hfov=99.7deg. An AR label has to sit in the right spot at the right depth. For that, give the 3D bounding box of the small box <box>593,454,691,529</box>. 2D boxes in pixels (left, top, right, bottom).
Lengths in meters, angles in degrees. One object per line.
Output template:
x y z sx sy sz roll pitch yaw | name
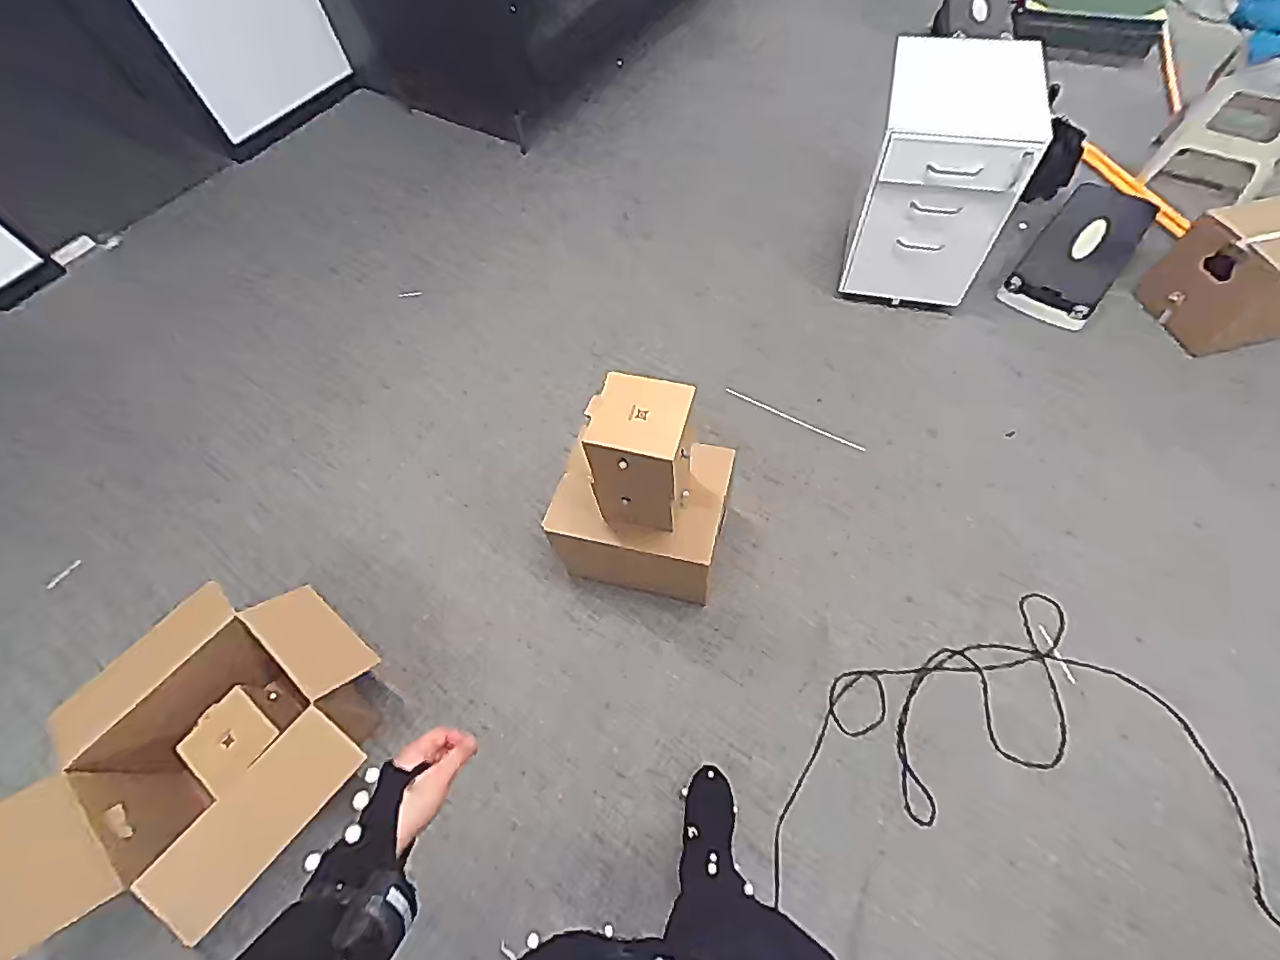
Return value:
0.013 -0.005 1.218 0.179 0.176 0.168 12 63 12 | small box

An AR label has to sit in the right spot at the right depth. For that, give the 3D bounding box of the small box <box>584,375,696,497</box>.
0.010 -0.081 1.074 0.179 0.176 0.168 12 63 13 | small box
